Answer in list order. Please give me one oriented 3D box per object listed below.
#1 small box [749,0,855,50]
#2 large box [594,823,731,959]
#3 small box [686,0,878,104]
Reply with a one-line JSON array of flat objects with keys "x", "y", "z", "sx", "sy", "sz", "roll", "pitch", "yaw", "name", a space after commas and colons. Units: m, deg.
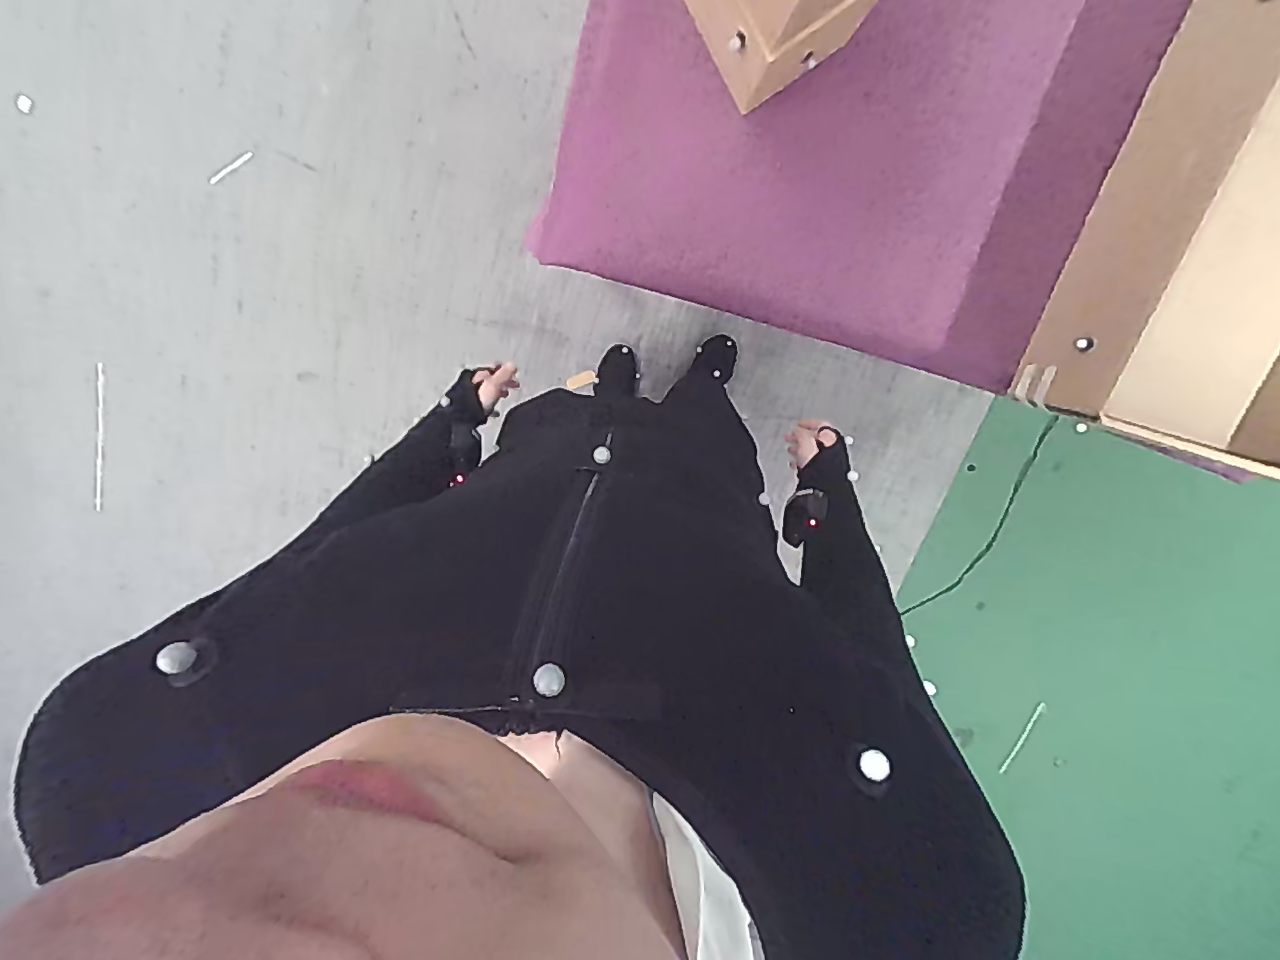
[{"x": 0.177, "y": -0.555, "z": 0.495, "sx": 0.179, "sy": 0.176, "sz": 0.168, "roll": -31, "pitch": 105, "yaw": 8, "name": "small box"}, {"x": 0.077, "y": 1.507, "z": 1.925, "sx": 0.408, "sy": 0.320, "sz": 0.320, "roll": -15, "pitch": 106, "yaw": 3, "name": "large box"}, {"x": 0.170, "y": -0.597, "z": 0.653, "sx": 0.168, "sy": 0.176, "sz": 0.179, "roll": -31, "pitch": 104, "yaw": 8, "name": "small box"}]
